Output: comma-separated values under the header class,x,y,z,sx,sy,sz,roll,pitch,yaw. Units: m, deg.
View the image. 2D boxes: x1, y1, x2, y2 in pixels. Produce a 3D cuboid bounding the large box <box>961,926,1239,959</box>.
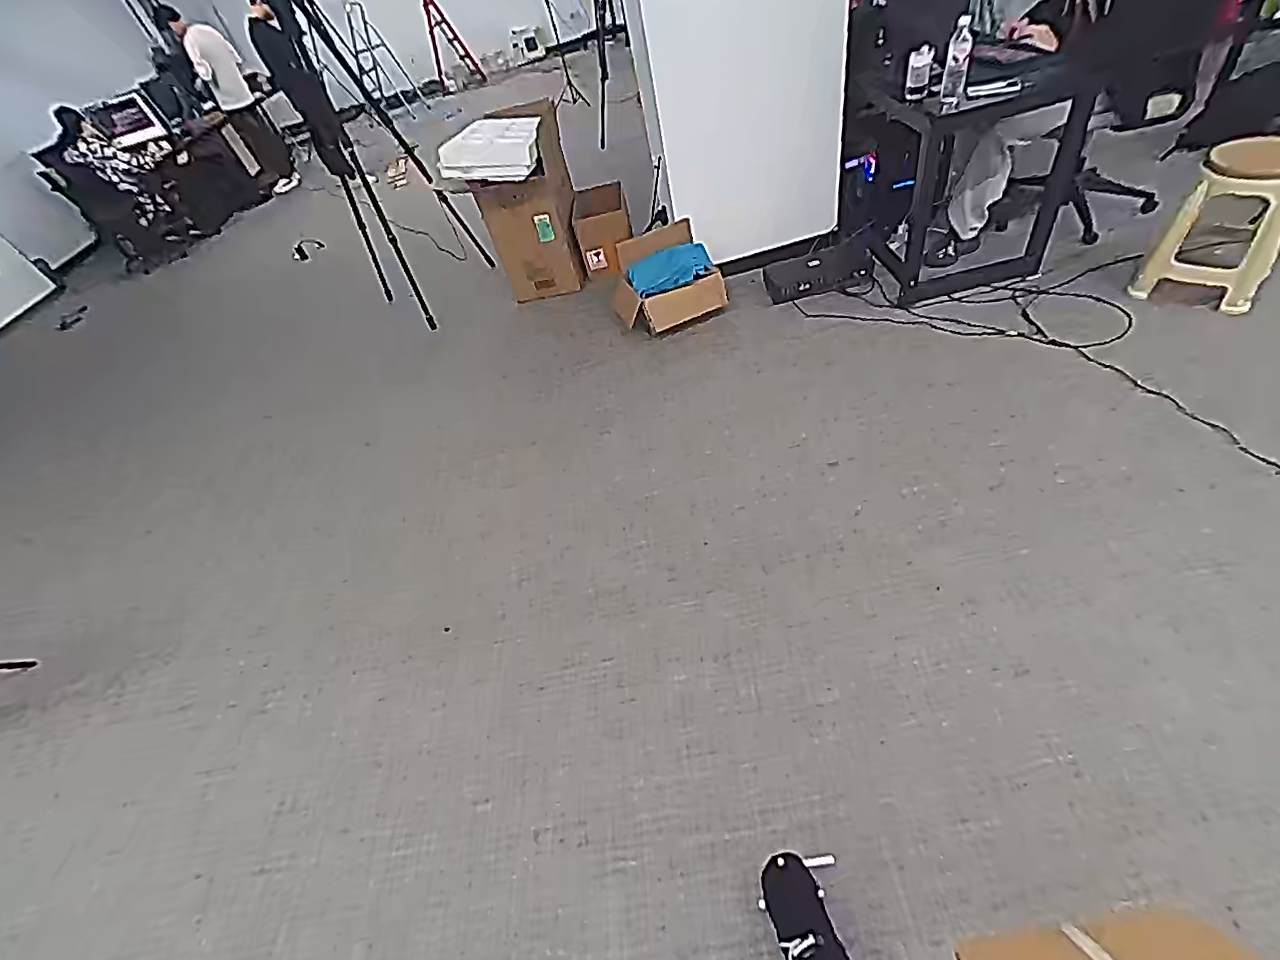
class,x,y,z,sx,sy,sz,roll,pitch,yaw
large box,0.595,0.730,0.513,0.320,0.408,0.320,-13,76,4
